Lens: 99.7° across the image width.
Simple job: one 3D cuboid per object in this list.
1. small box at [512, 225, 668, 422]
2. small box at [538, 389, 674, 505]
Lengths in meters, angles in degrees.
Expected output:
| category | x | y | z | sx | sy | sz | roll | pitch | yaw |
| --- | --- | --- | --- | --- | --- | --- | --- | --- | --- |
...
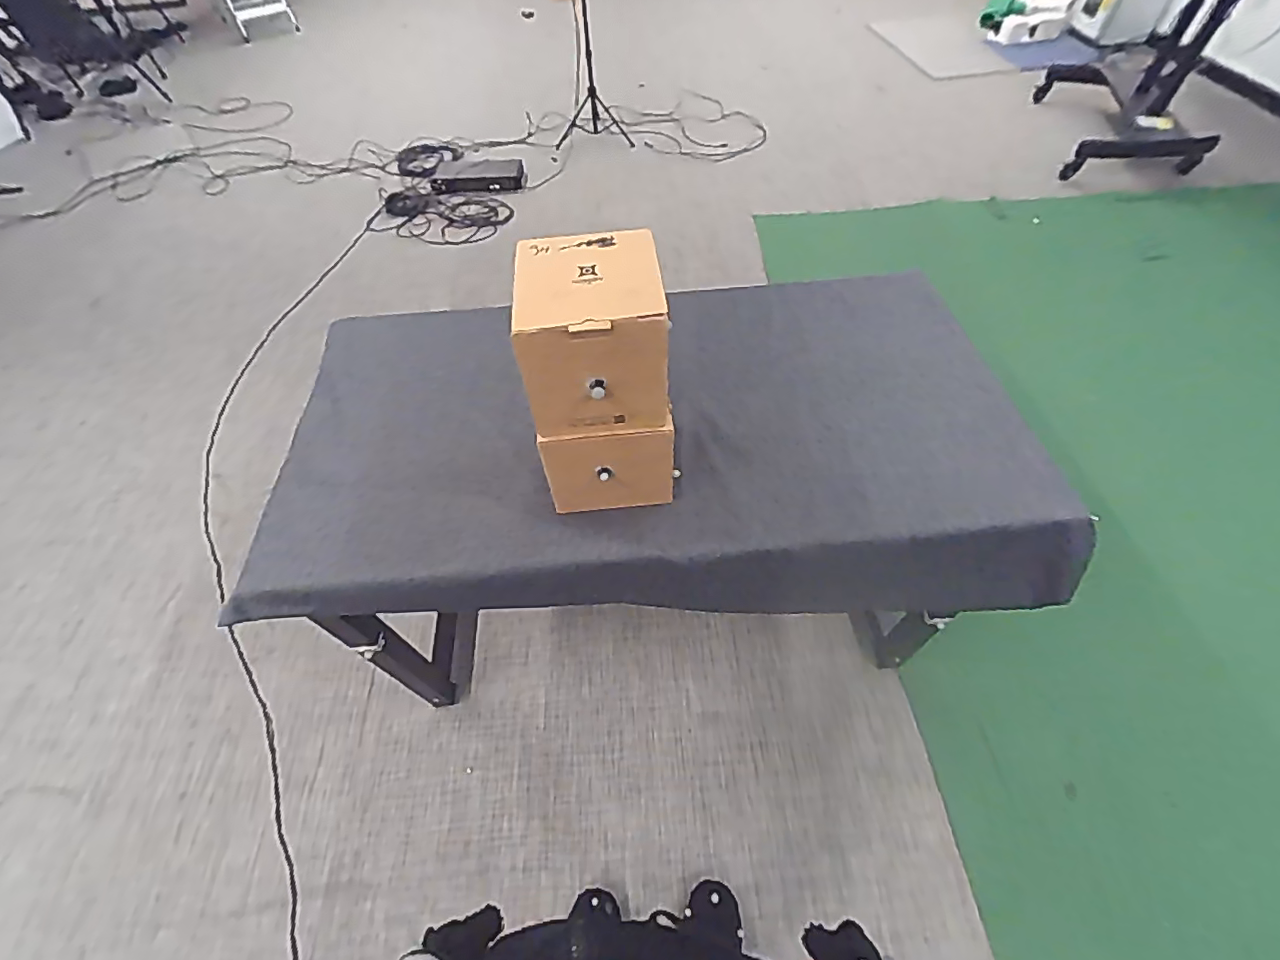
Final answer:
| category | x | y | z | sx | sy | sz | roll | pitch | yaw |
| --- | --- | --- | --- | --- | --- | --- | --- | --- | --- |
| small box | -0.054 | -0.184 | 0.669 | 0.168 | 0.176 | 0.179 | -5 | 55 | -1 |
| small box | -0.046 | -0.079 | 0.794 | 0.179 | 0.176 | 0.168 | -5 | 54 | 0 |
